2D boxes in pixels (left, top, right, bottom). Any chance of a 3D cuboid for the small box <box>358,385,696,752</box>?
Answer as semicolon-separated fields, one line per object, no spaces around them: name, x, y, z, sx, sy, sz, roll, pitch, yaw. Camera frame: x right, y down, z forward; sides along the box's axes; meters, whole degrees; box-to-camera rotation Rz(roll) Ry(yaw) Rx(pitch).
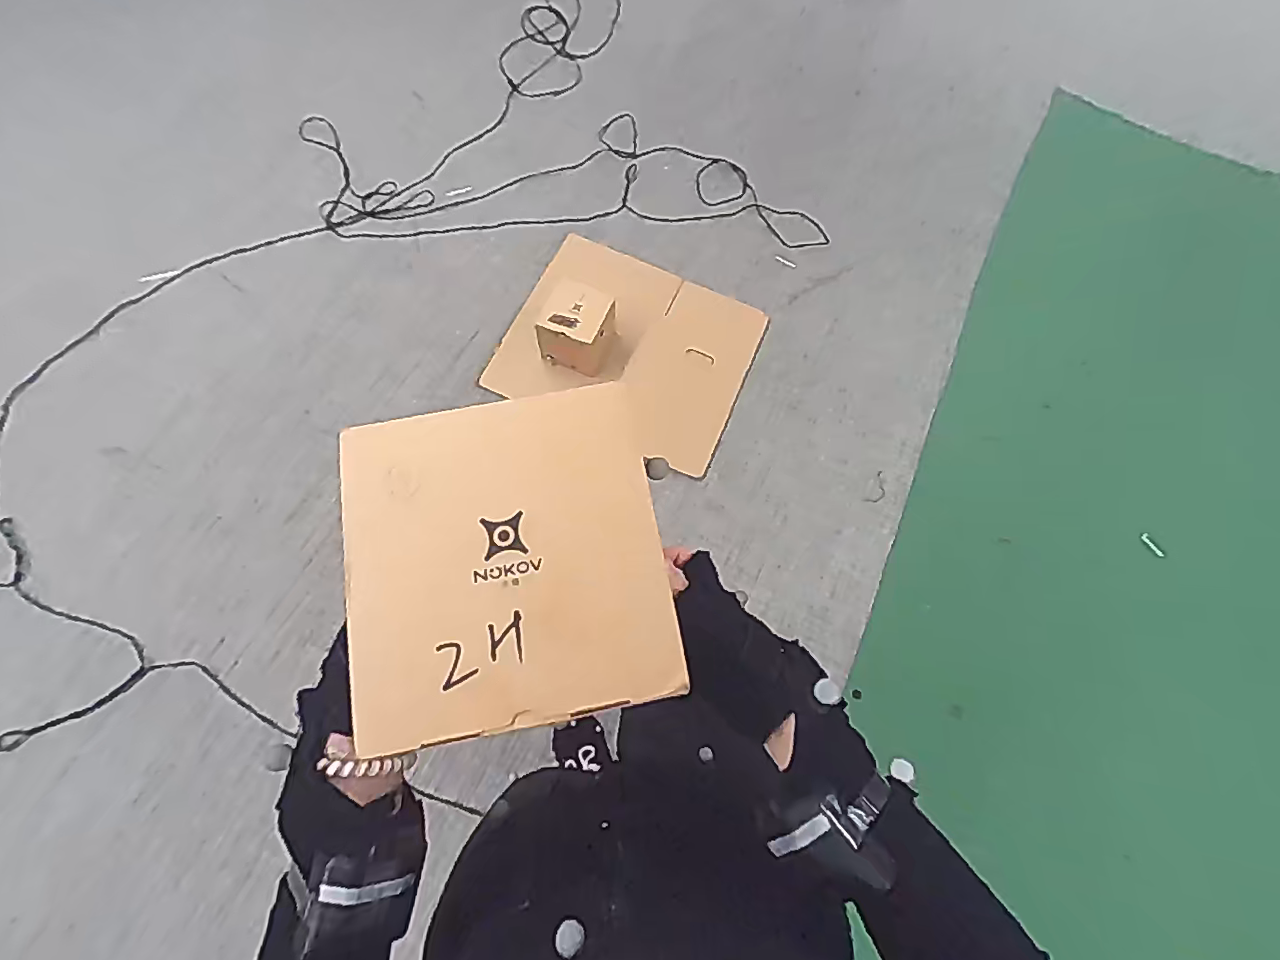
small box;-0.067;0.061;0.366;0.168;0.176;0.179;-10;75;-3

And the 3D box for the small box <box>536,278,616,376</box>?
small box;-0.173;-0.424;1.524;0.168;0.176;0.179;22;70;4
